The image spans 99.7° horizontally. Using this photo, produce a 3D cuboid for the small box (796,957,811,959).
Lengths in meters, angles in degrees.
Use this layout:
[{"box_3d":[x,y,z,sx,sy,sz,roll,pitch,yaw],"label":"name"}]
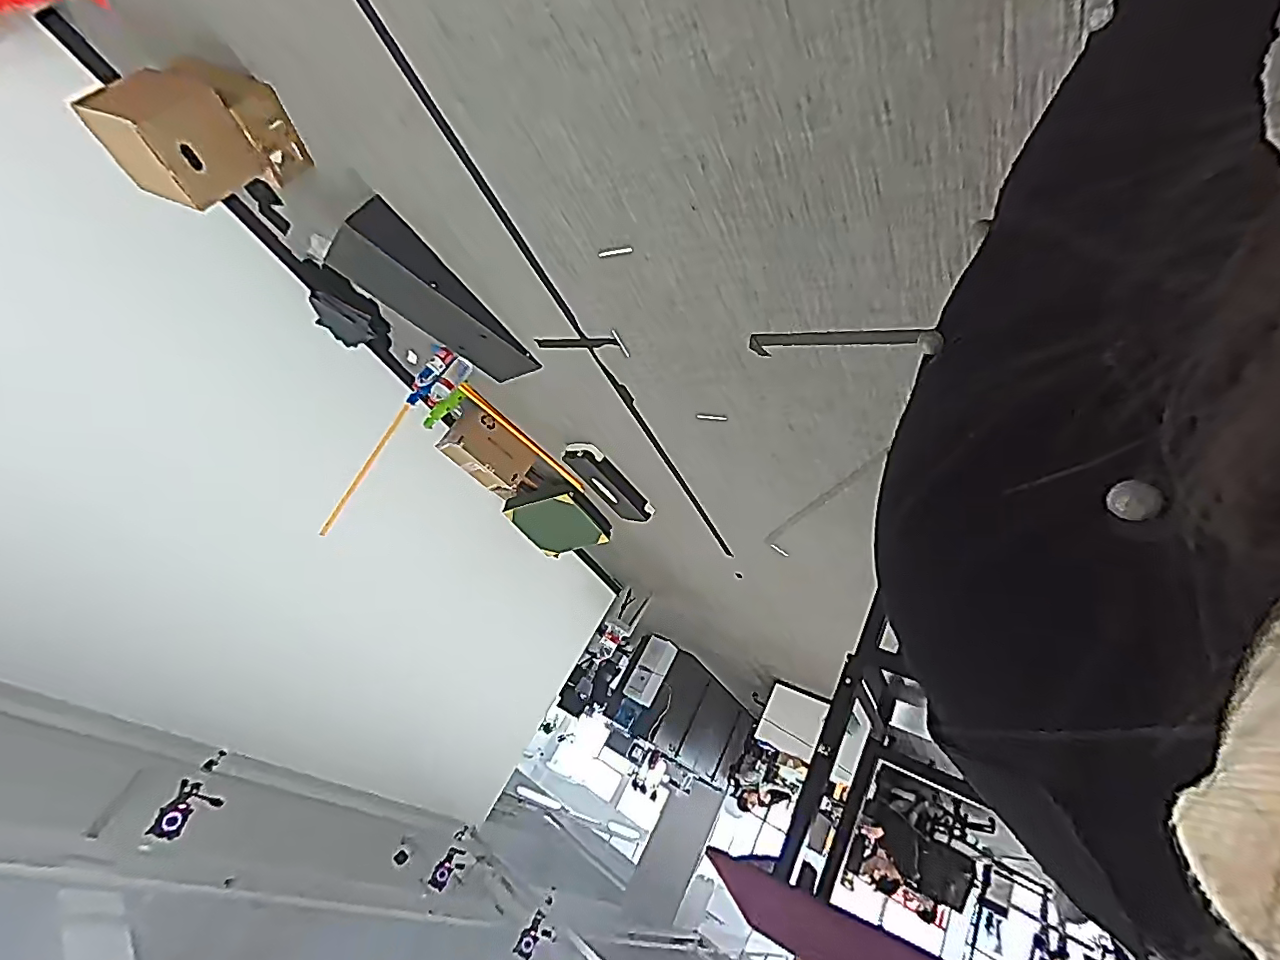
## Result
[{"box_3d":[0.436,1.305,1.311,0.179,0.176,0.168,13,151,38],"label":"small box"}]
